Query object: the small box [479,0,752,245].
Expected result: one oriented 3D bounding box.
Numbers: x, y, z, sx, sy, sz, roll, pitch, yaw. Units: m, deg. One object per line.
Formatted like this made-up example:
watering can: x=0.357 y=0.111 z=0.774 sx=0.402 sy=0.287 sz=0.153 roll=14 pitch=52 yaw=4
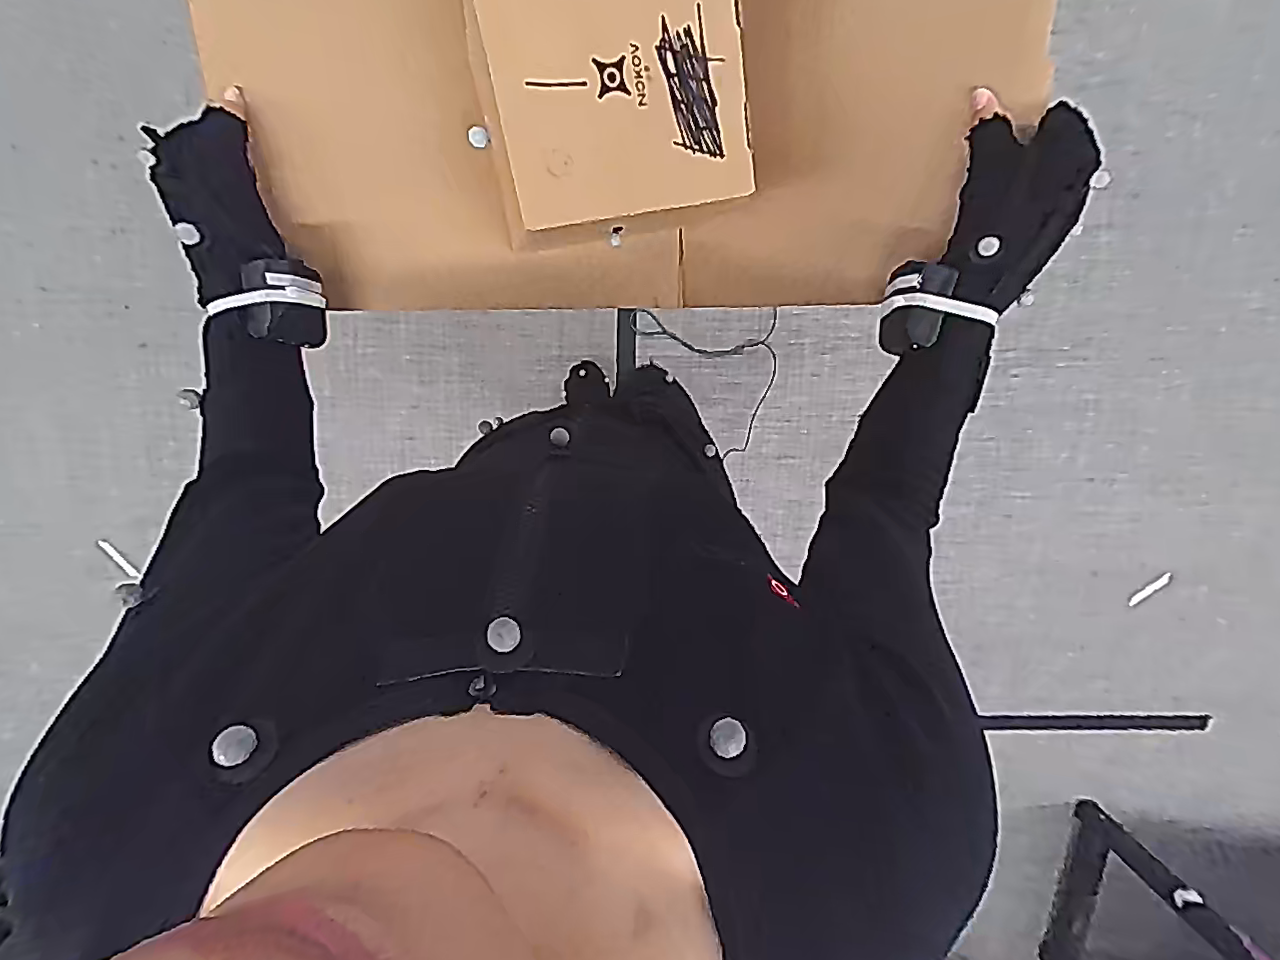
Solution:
small box: x=-0.028 y=-0.299 z=0.443 sx=0.179 sy=0.176 sz=0.168 roll=-14 pitch=110 yaw=-10
